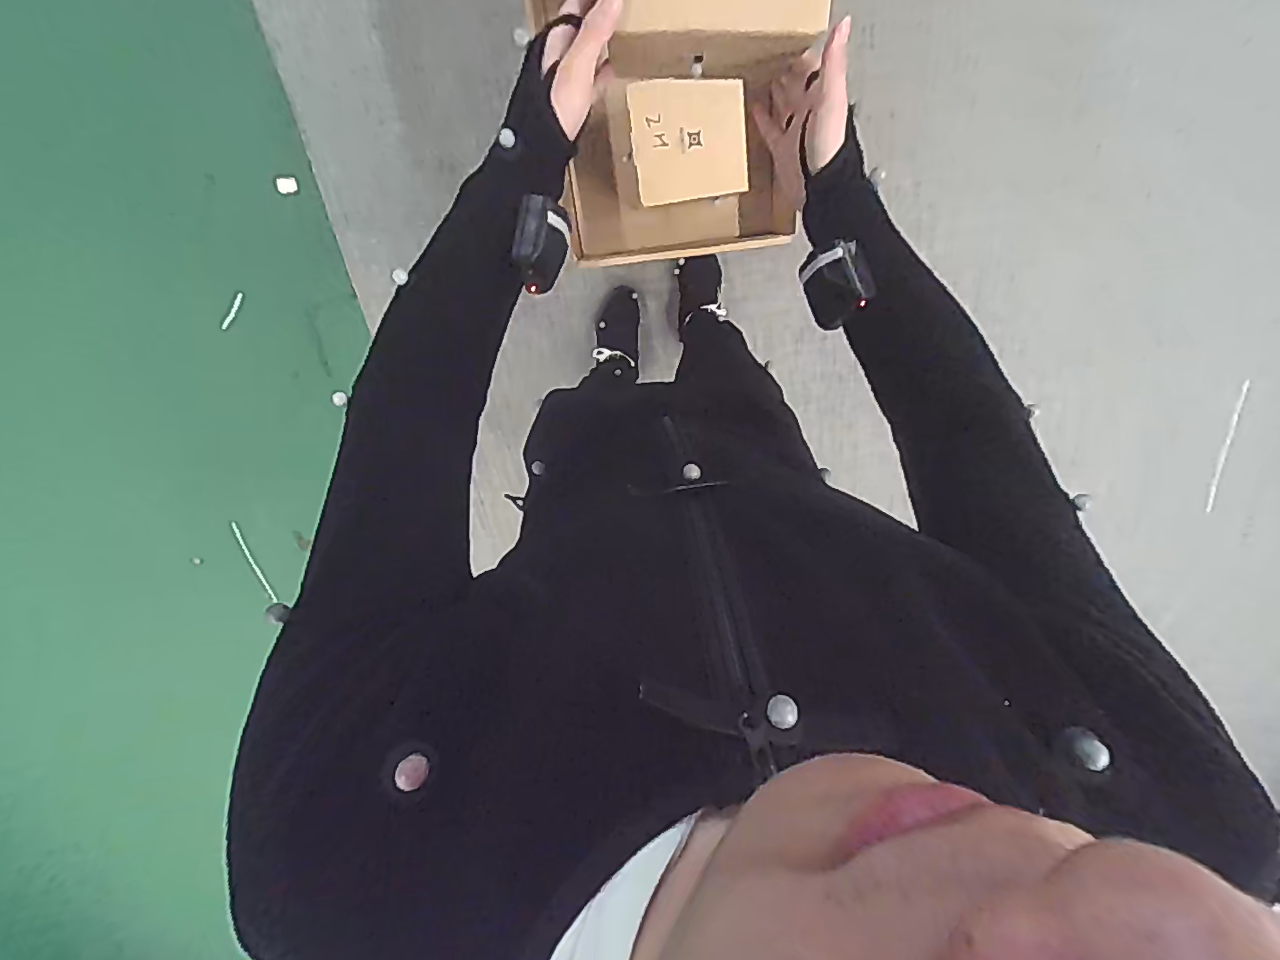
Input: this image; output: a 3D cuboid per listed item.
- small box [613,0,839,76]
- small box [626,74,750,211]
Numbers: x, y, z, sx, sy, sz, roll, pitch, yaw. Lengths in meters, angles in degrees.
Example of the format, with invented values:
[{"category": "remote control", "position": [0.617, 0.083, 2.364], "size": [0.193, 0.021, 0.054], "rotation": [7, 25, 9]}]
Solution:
[{"category": "small box", "position": [0.065, -0.461, 0.456], "size": [0.179, 0.176, 0.168], "rotation": [0, 116, -2]}, {"category": "small box", "position": [0.075, -0.548, 0.892], "size": [0.179, 0.176, 0.168], "rotation": [-8, 114, 1]}]
